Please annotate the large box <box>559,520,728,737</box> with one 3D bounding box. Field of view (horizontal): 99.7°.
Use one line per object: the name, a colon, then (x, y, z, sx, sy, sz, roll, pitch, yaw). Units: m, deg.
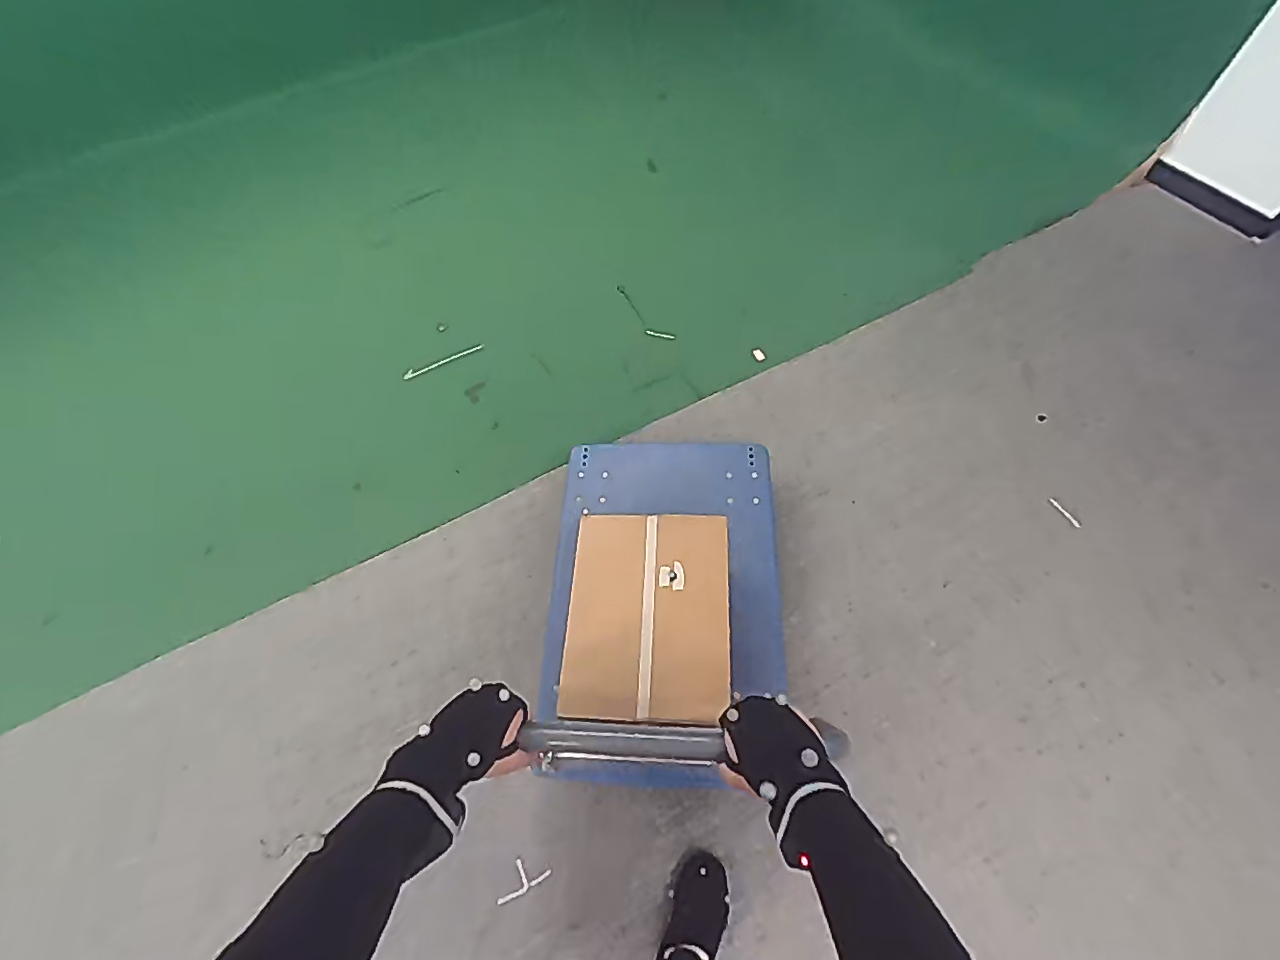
large box: (0.027, 0.335, 1.198, 0.320, 0.320, 0.408, 1, 60, 6)
